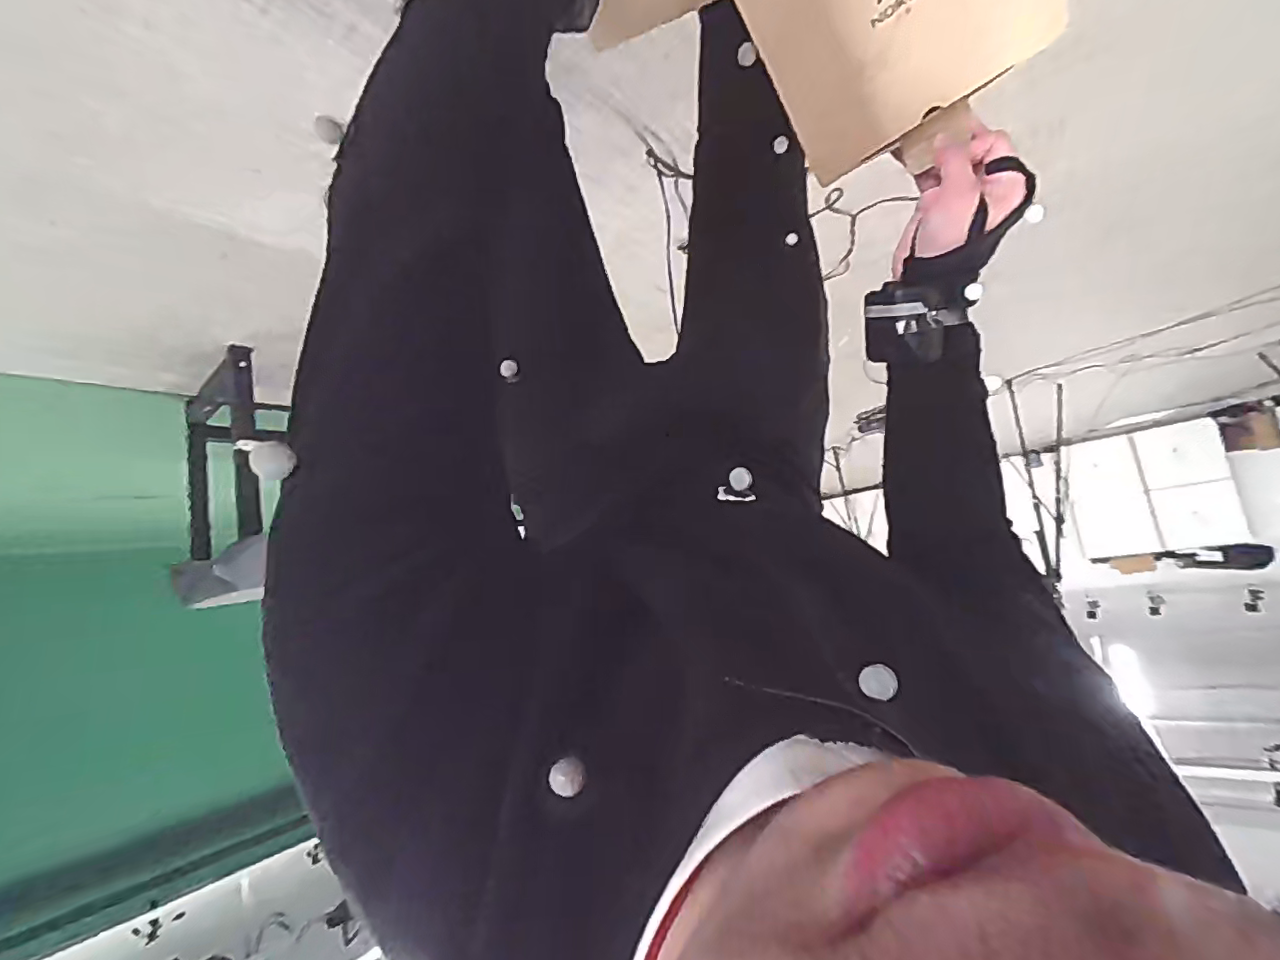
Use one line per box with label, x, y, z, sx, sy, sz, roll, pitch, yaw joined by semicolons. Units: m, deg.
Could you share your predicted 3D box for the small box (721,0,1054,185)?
small box;0.160;-0.370;0.397;0.168;0.176;0.179;-26;128;31
